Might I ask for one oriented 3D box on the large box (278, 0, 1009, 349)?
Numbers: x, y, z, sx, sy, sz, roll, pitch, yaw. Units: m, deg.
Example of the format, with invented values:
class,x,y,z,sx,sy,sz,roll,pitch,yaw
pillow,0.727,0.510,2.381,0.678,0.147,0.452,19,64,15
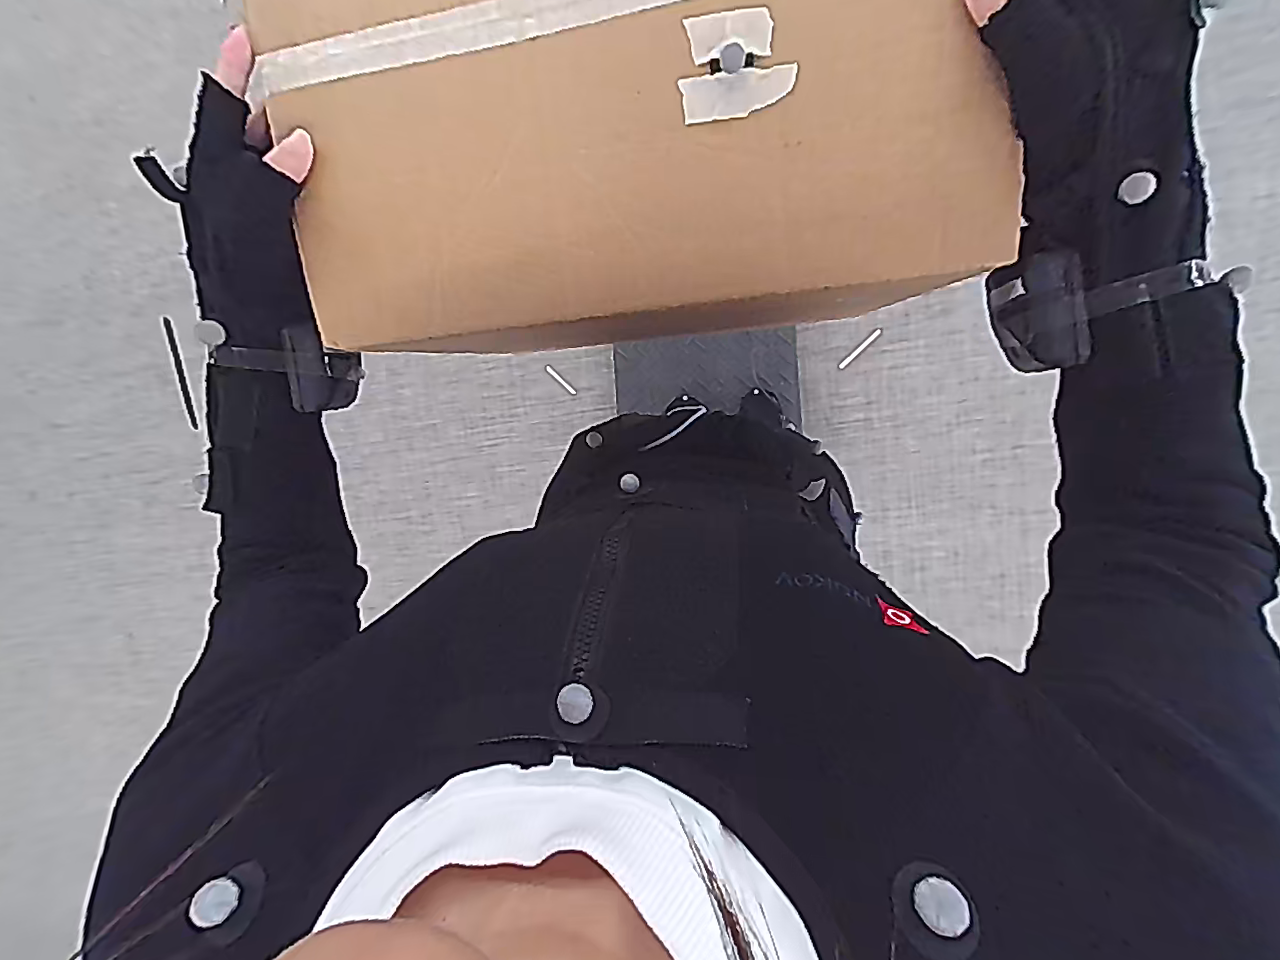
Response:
class,x,y,z,sx,sy,sz,roll,pitch,yaw
large box,0.005,-0.290,0.438,0.408,0.320,0.320,-4,102,9
